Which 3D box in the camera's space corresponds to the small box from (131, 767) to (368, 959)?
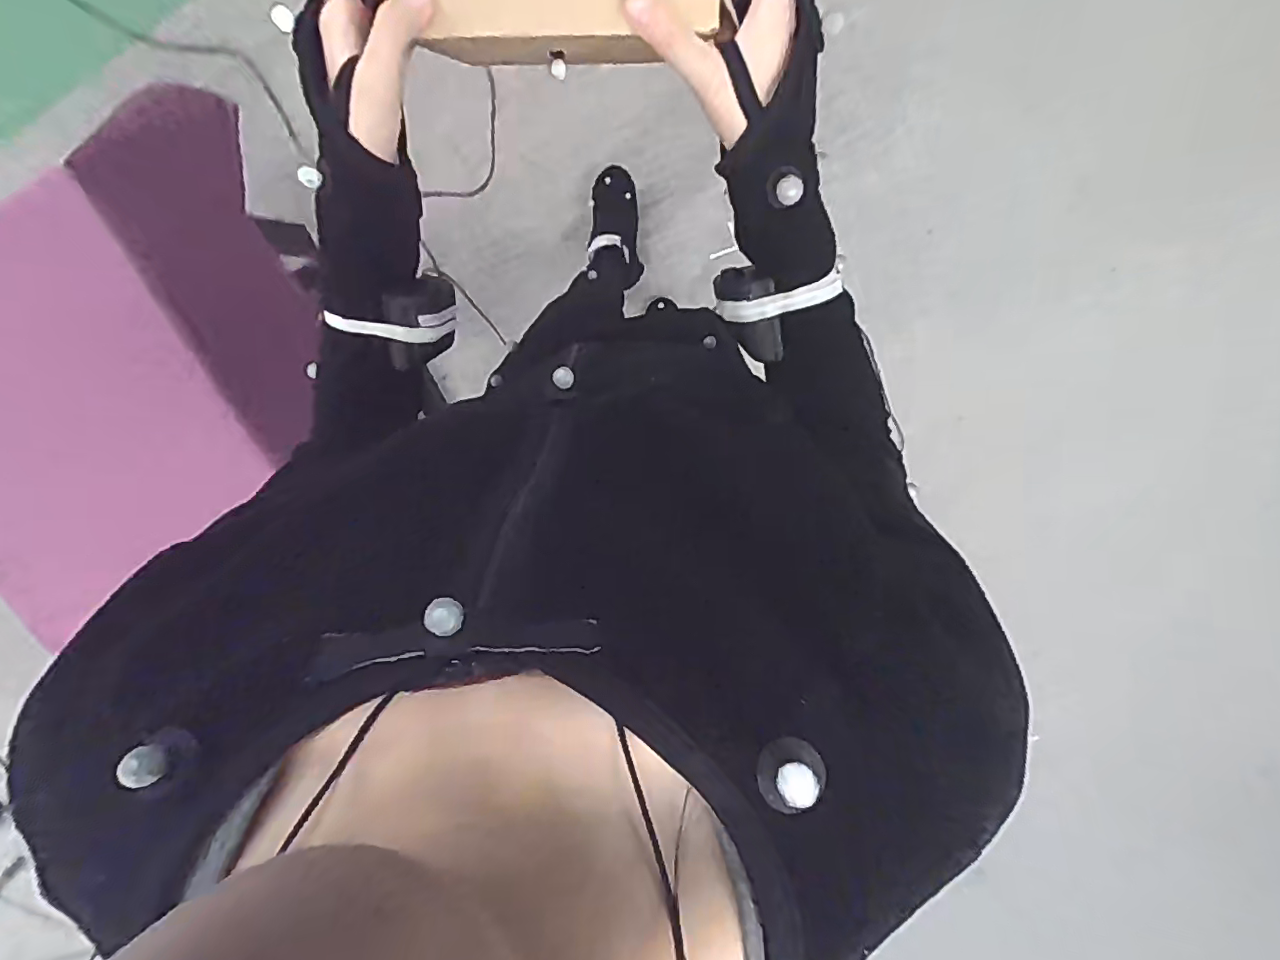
[{"bbox_3d":[-0.512,0.533,0.745,0.179,0.176,0.168,-24,106,15],"label":"small box"}]
